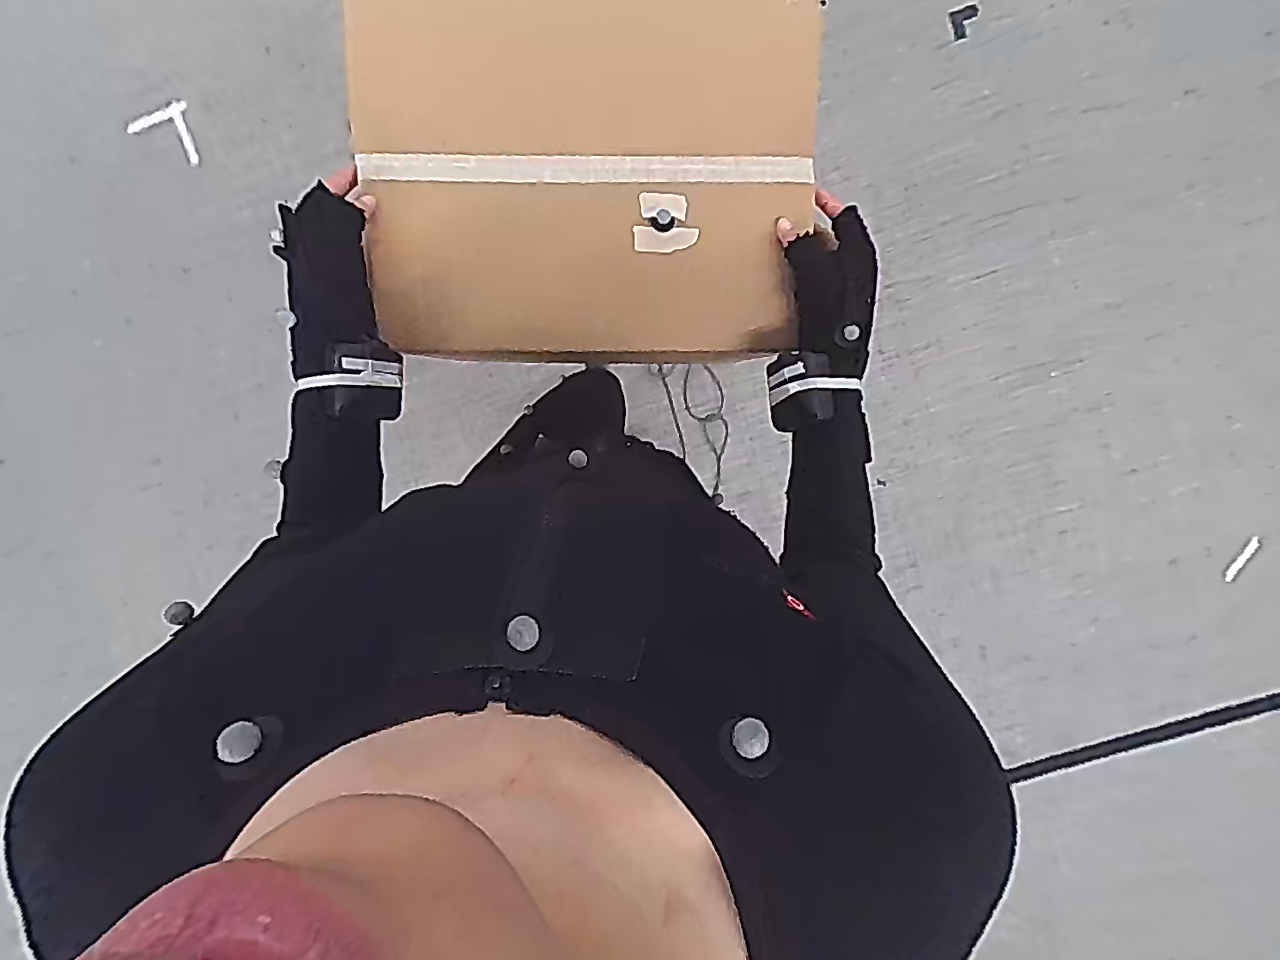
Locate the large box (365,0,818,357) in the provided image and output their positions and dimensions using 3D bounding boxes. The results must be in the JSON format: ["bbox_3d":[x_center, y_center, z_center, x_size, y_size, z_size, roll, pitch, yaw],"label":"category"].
[{"bbox_3d":[-0.047,-0.315,0.640,0.408,0.320,0.320,0,100,-2],"label":"large box"}]
